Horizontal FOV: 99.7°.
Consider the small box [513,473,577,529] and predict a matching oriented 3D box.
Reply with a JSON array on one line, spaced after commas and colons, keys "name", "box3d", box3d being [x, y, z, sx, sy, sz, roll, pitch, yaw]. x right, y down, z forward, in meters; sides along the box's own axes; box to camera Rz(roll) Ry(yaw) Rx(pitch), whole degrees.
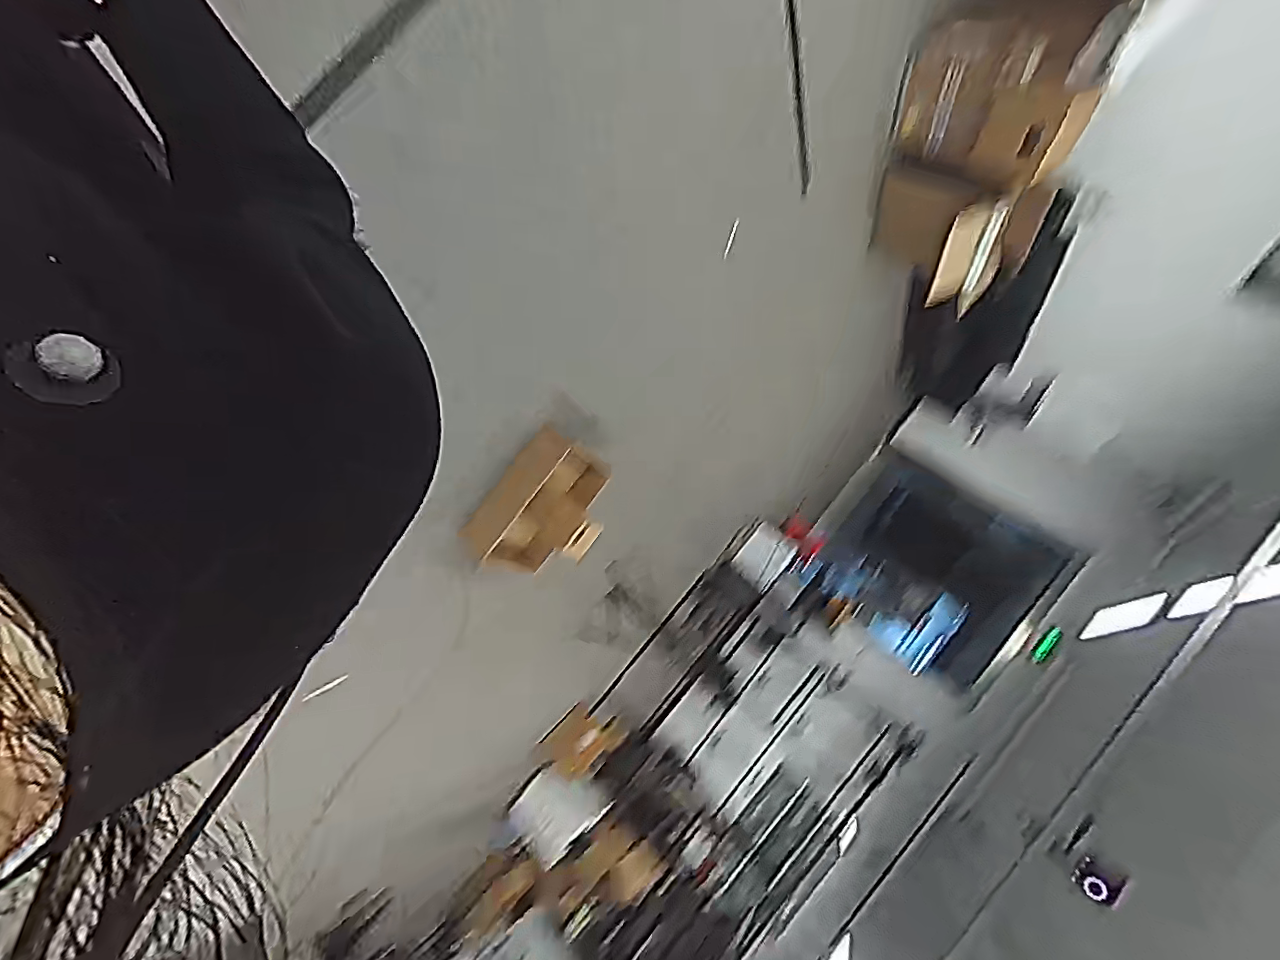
[{"name": "small box", "box3d": [-0.418, 0.091, 2.374, 0.168, 0.176, 0.179, -54, 152, 3]}]
